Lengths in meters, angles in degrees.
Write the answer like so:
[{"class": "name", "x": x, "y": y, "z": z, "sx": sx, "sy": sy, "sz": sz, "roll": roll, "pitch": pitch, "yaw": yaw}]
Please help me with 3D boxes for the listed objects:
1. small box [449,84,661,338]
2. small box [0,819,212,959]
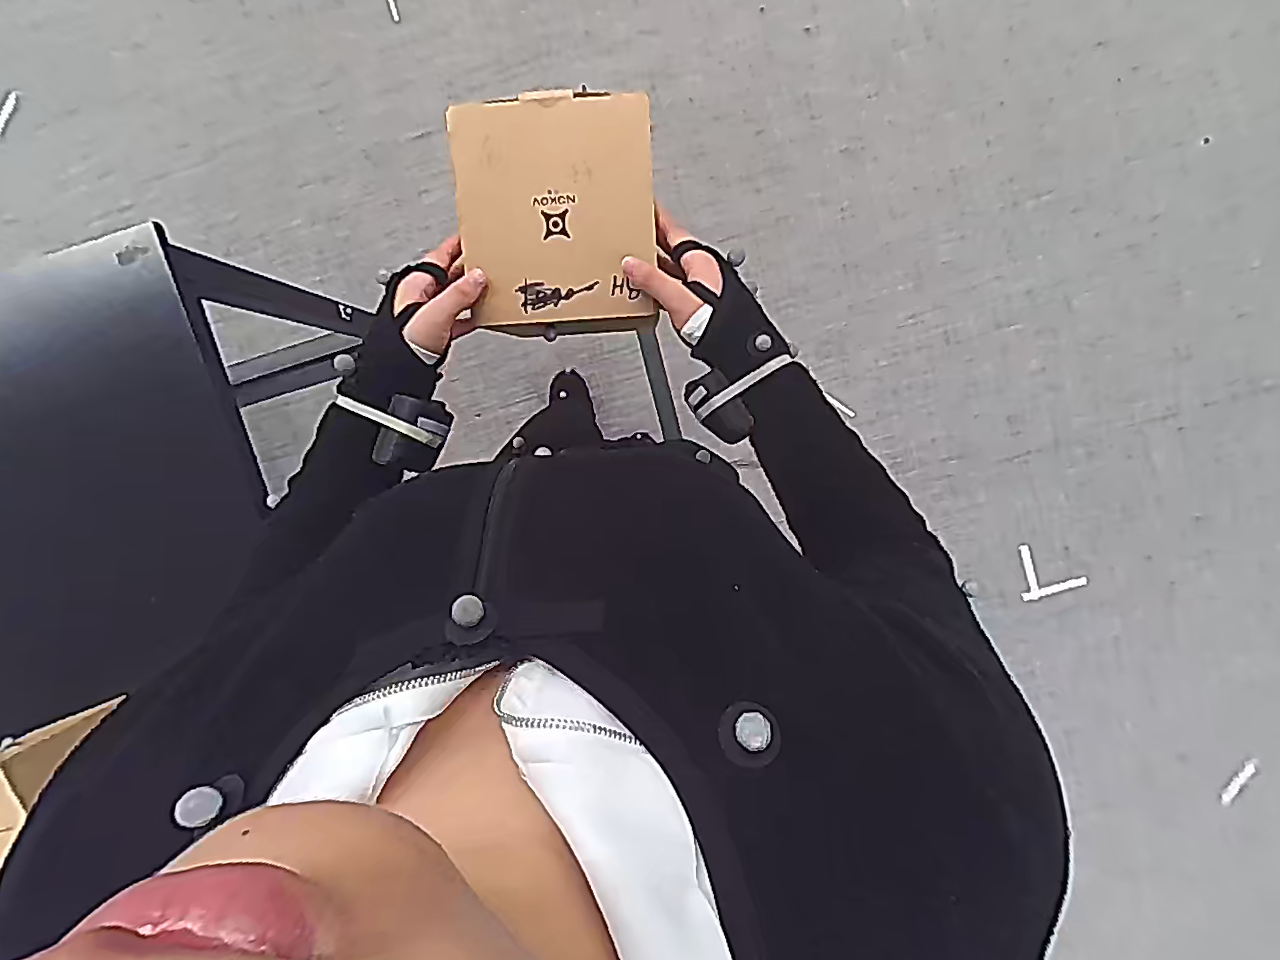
[{"class": "small box", "x": -0.068, "y": -0.241, "z": 0.528, "sx": 0.168, "sy": 0.176, "sz": 0.179, "roll": -4, "pitch": 100, "yaw": 2}, {"class": "small box", "x": -0.761, "y": 0.620, "z": 0.770, "sx": 0.179, "sy": 0.176, "sz": 0.168, "roll": -12, "pitch": 95, "yaw": 4}]
